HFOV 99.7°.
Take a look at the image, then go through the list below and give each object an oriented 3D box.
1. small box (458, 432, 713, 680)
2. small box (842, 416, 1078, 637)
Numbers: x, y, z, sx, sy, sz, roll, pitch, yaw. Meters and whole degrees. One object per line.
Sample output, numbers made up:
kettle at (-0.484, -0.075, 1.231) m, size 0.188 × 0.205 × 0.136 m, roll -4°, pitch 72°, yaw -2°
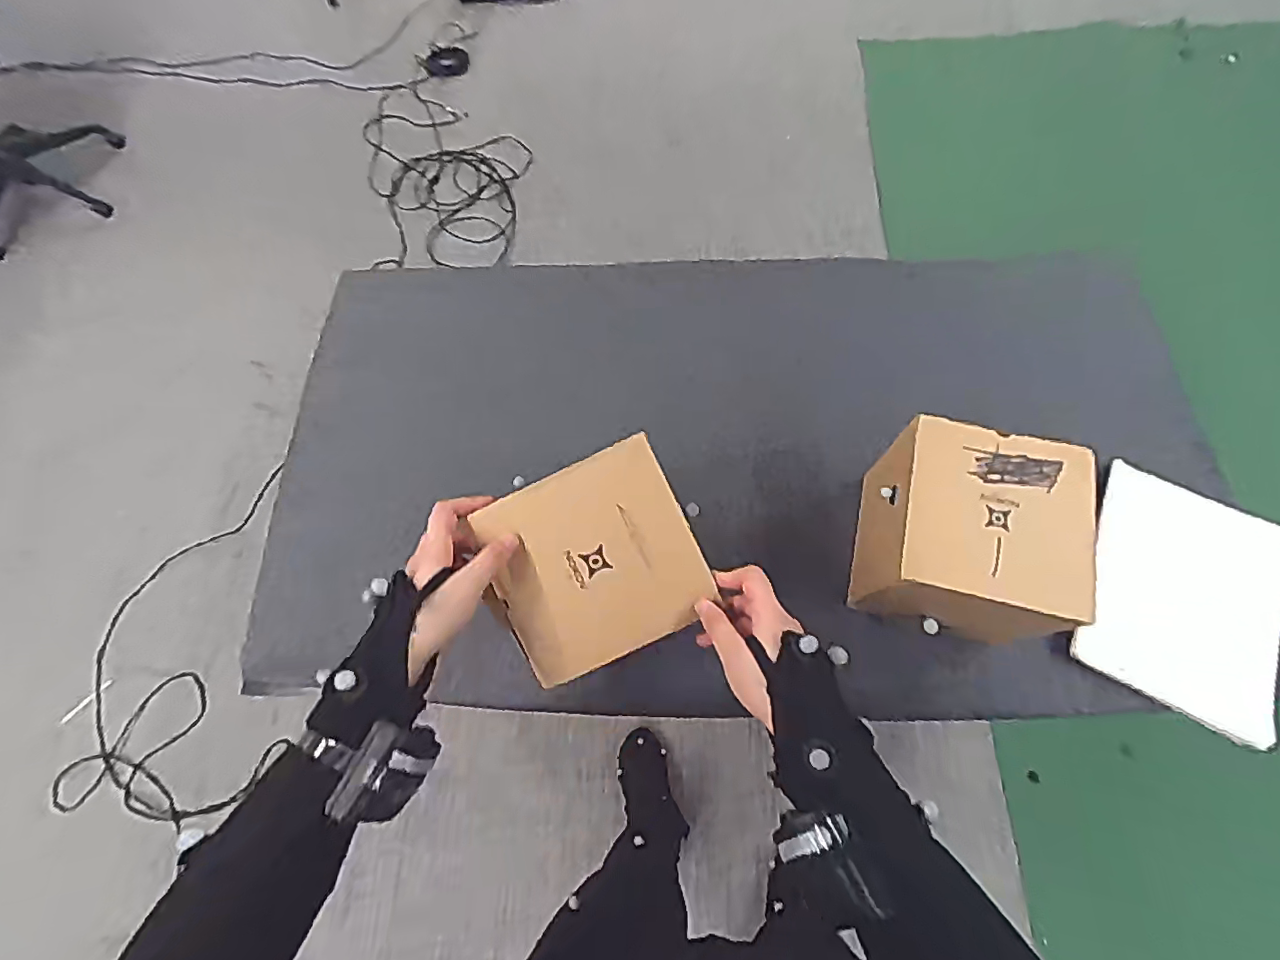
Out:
small box at (-0.045, 0.064, 0.546) m, size 0.179 × 0.176 × 0.168 m, roll -27°, pitch 93°, yaw 2°
small box at (0.333, 0.059, 0.590) m, size 0.168 × 0.176 × 0.179 m, roll 13°, pitch 70°, yaw 9°
